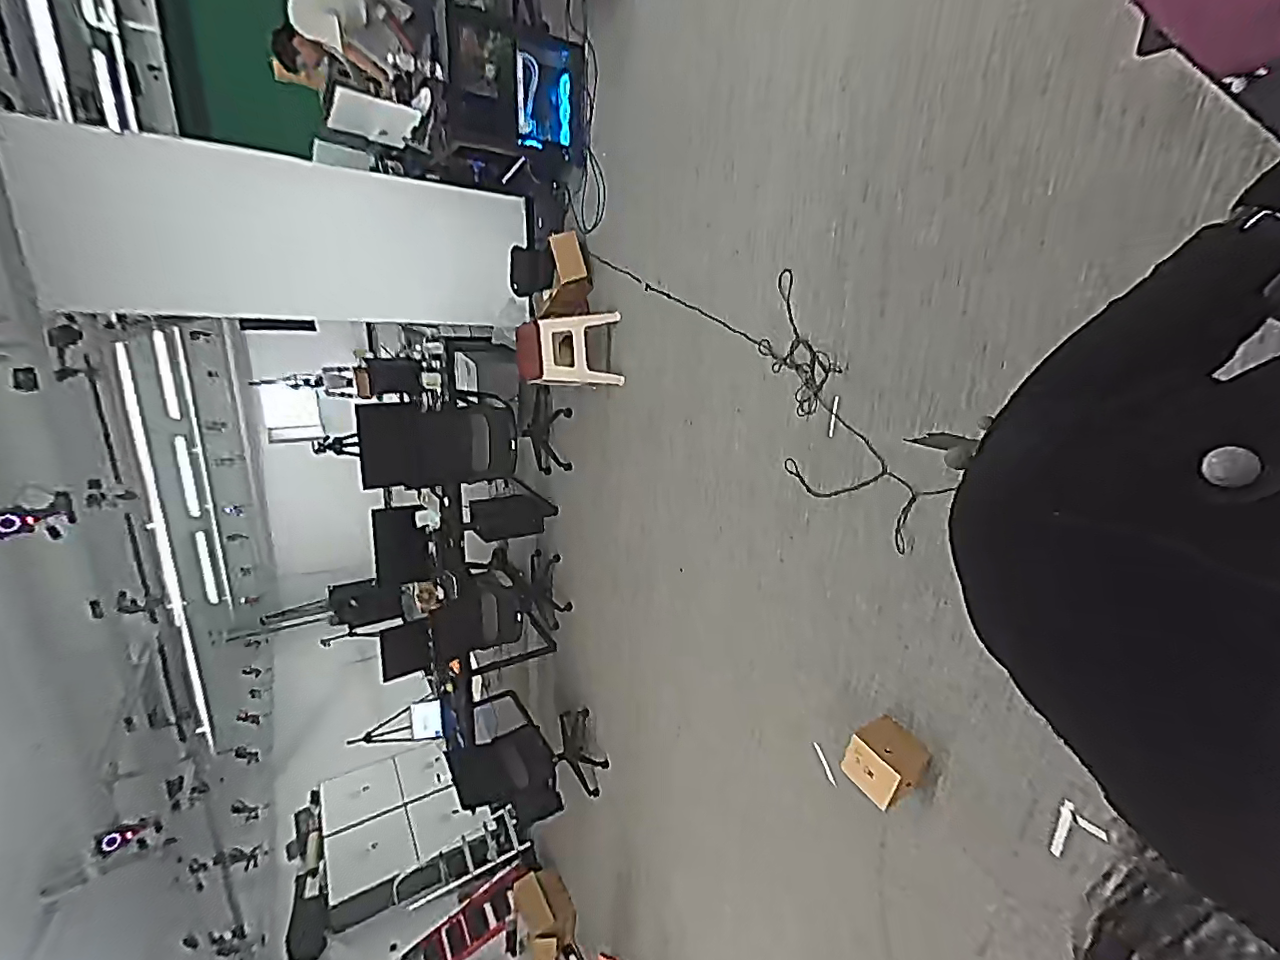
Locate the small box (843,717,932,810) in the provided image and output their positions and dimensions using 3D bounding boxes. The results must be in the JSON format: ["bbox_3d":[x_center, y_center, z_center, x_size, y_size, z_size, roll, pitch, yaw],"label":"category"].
[{"bbox_3d":[0.795,0.900,1.733,0.179,0.176,0.168,39,129,48],"label":"small box"}]
